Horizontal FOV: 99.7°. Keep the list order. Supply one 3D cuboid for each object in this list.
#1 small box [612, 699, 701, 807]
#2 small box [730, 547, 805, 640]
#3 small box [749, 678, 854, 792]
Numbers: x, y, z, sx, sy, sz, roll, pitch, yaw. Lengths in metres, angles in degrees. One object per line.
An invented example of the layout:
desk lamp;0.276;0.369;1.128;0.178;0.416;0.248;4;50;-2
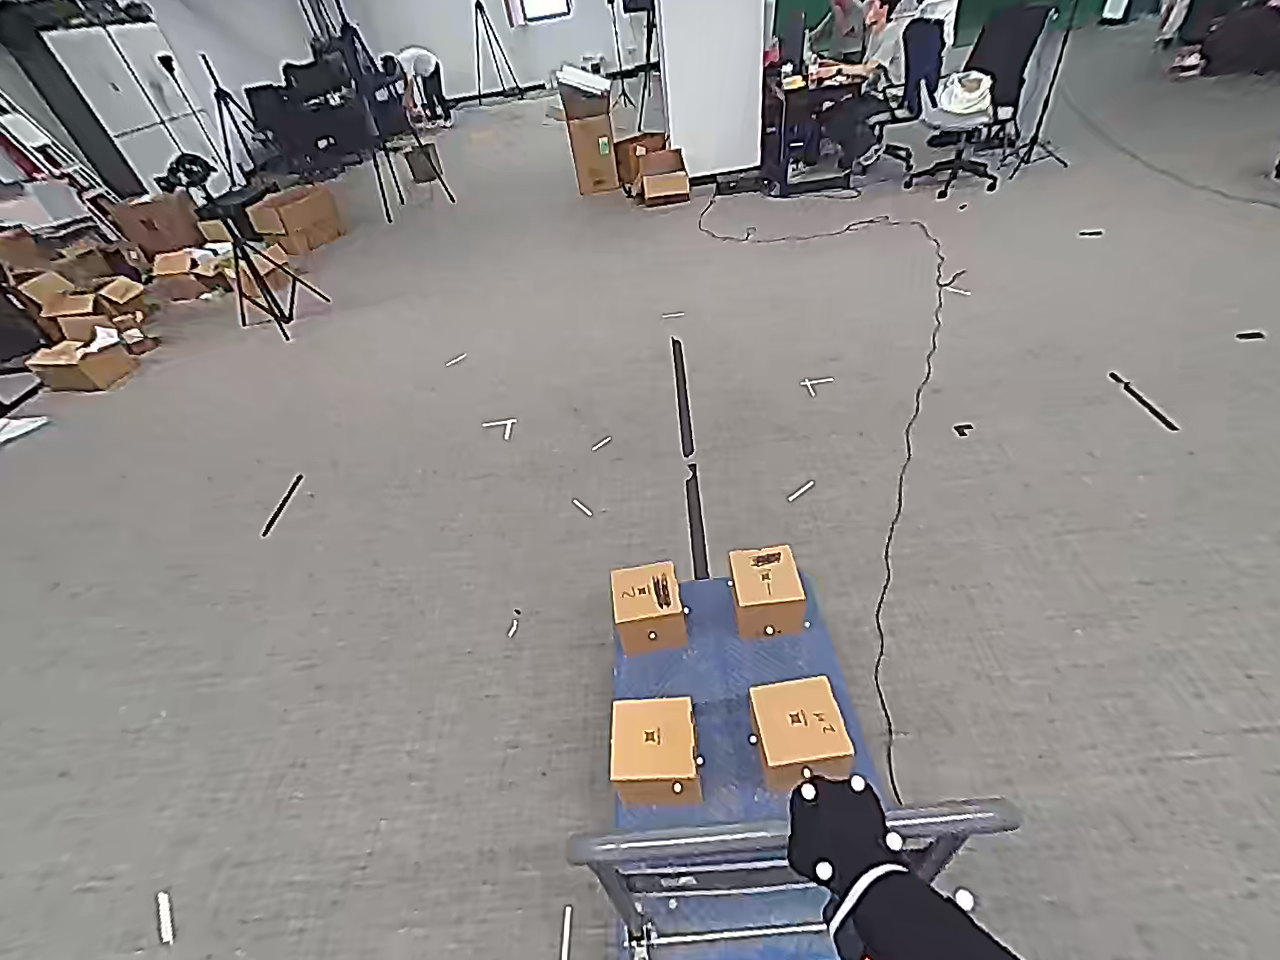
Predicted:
small box;0.039;0.606;1.196;0.179;0.176;0.168;-5;42;4
small box;0.336;0.306;1.456;0.168;0.176;0.179;-8;44;4
small box;0.345;0.560;1.182;0.179;0.176;0.168;-10;43;2
